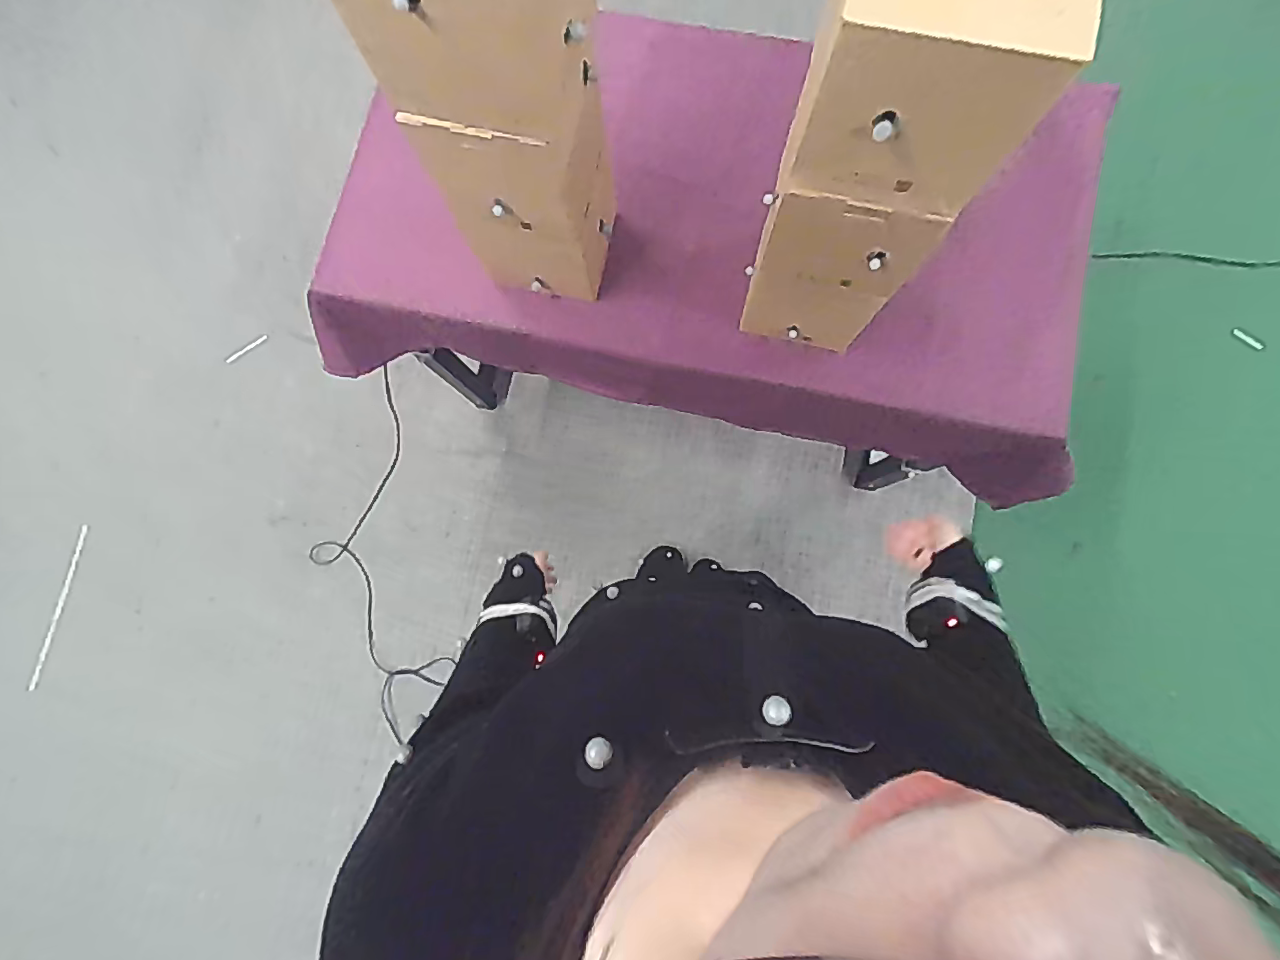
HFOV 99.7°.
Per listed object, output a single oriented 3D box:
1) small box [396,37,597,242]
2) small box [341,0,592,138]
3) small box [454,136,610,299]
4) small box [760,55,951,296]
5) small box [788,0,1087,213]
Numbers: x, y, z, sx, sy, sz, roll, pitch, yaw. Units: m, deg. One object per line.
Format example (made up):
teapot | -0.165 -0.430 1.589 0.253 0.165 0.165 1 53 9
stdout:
small box | -0.151 -0.420 0.642 0.168 0.176 0.179 12 82 5
small box | -0.153 -0.444 0.479 0.179 0.176 0.168 14 82 4
small box | -0.146 -0.390 0.804 0.179 0.176 0.168 11 82 3
small box | 0.240 -0.334 0.613 0.168 0.176 0.179 12 82 4
small box | 0.232 -0.360 0.453 0.168 0.176 0.179 13 82 4
